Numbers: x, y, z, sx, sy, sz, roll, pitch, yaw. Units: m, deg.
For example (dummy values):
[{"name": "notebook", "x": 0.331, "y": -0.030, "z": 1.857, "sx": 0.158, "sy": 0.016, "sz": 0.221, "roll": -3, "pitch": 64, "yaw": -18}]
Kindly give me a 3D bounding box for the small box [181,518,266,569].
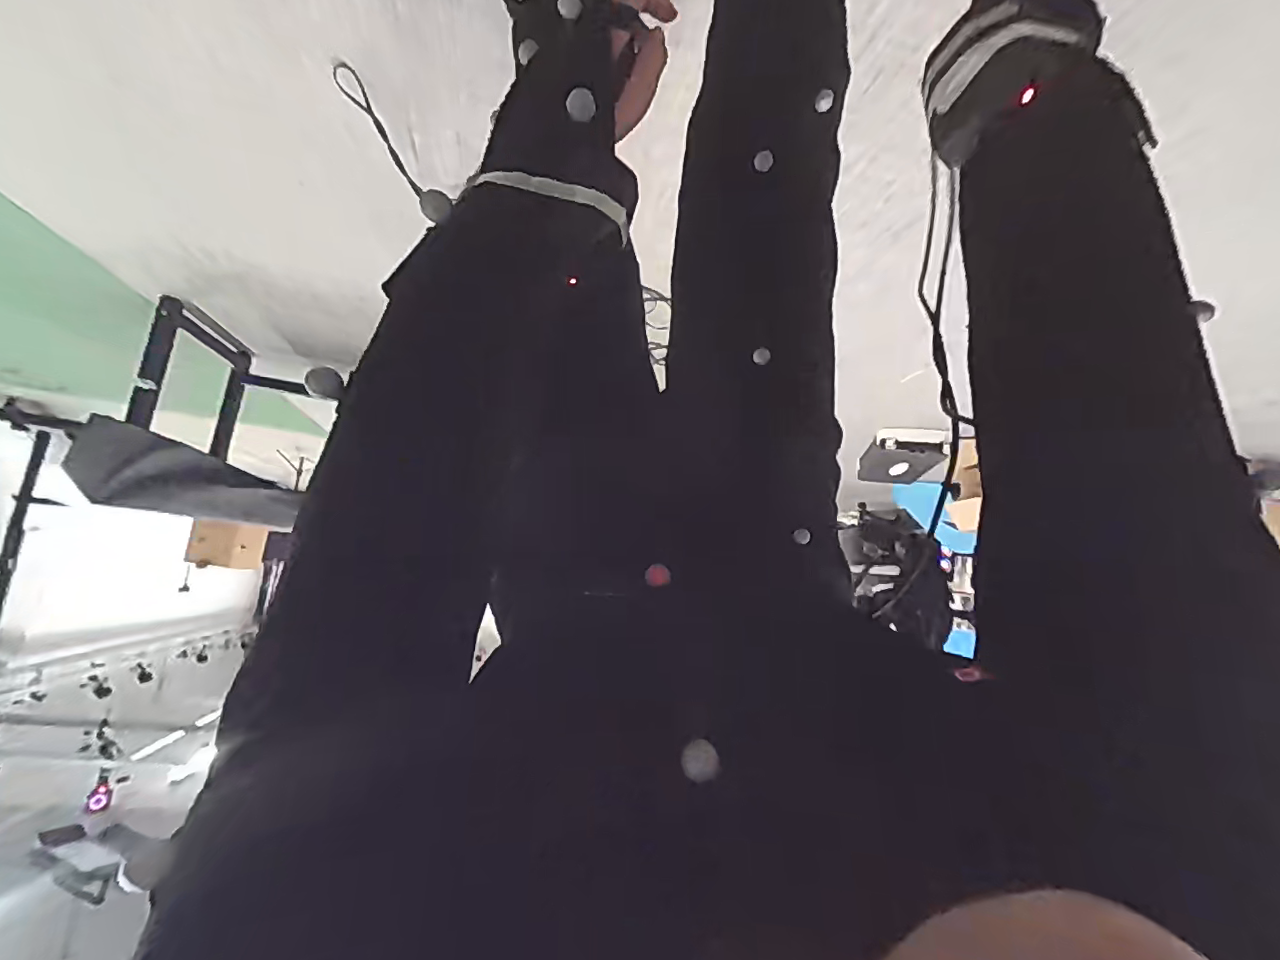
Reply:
[{"name": "small box", "x": -1.522, "y": 0.233, "z": 1.986, "sx": 0.168, "sy": 0.176, "sz": 0.179, "roll": 9, "pitch": 171, "yaw": -1}]
